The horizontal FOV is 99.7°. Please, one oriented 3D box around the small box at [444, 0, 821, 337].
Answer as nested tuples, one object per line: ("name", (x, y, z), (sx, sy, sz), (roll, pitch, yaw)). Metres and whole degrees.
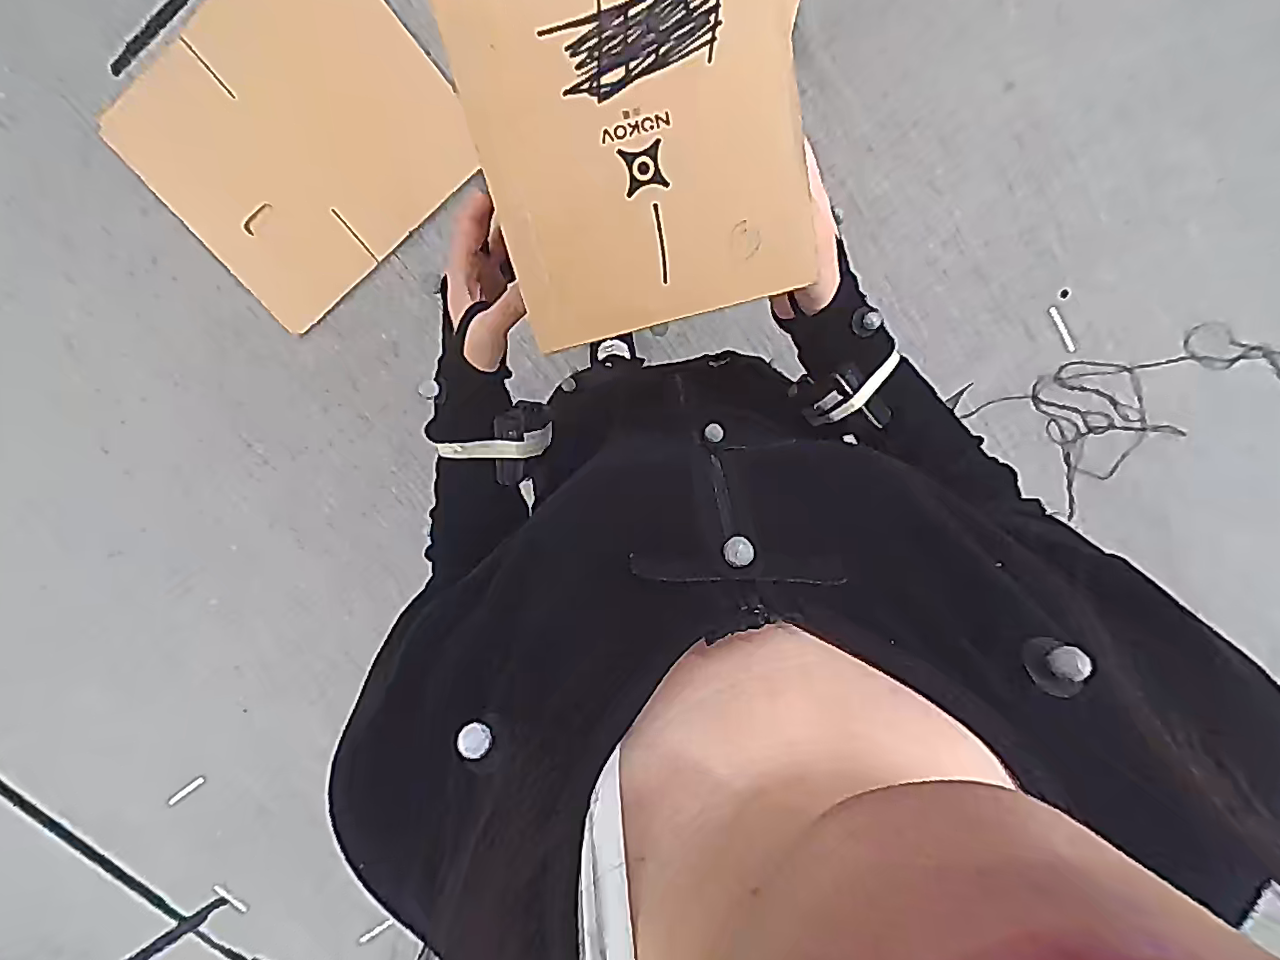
("small box", (0.000, -0.203, 0.349), (0.168, 0.176, 0.179), (-13, 110, 3))
